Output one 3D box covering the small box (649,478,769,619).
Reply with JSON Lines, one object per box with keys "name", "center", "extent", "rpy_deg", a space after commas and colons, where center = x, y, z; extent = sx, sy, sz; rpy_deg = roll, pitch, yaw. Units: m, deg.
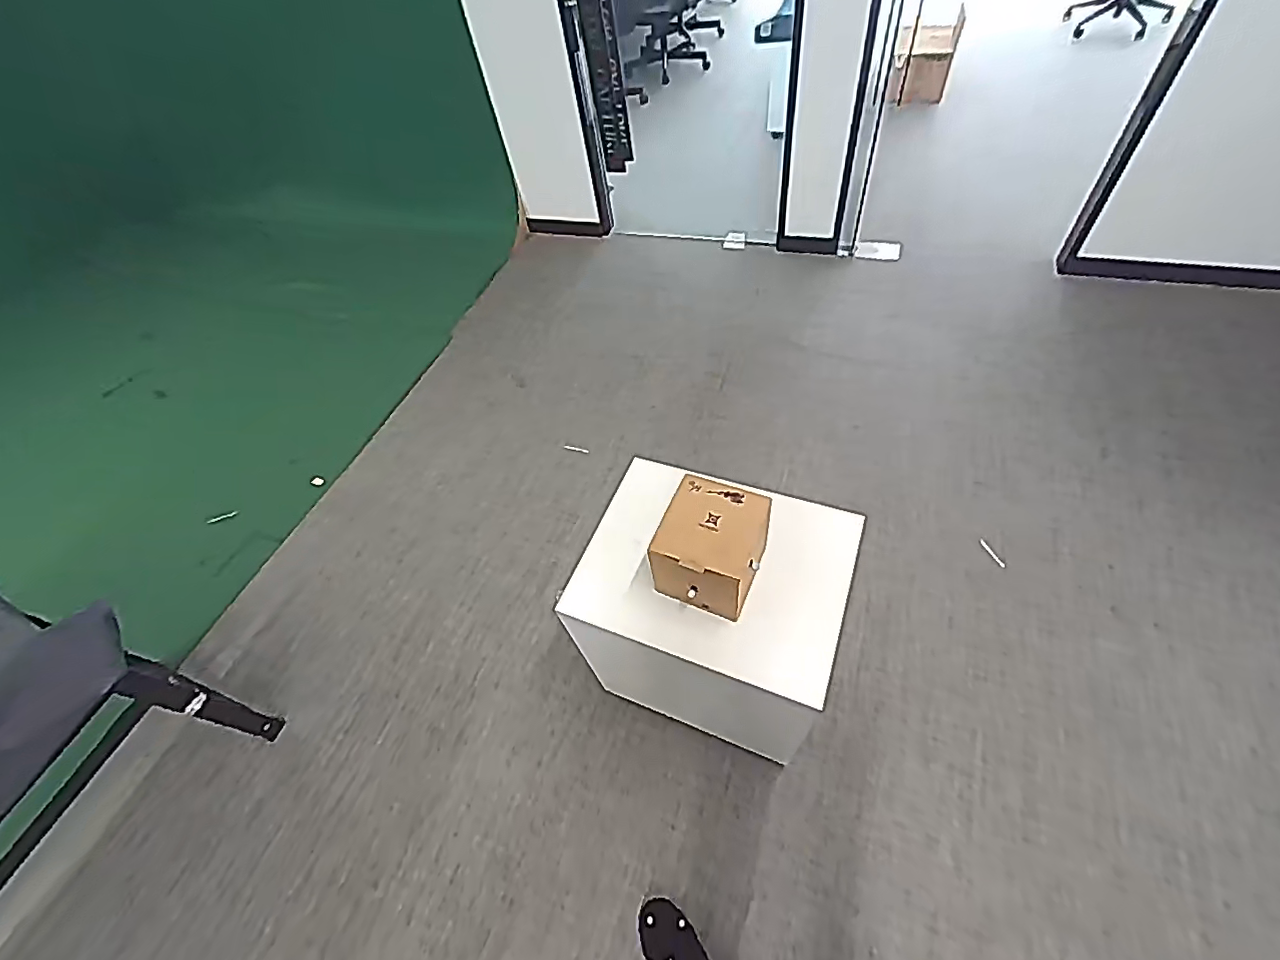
{"name": "small box", "center": [0.132, 0.129, 0.994], "extent": [0.168, 0.176, 0.179], "rpy_deg": [15, 56, 19]}
